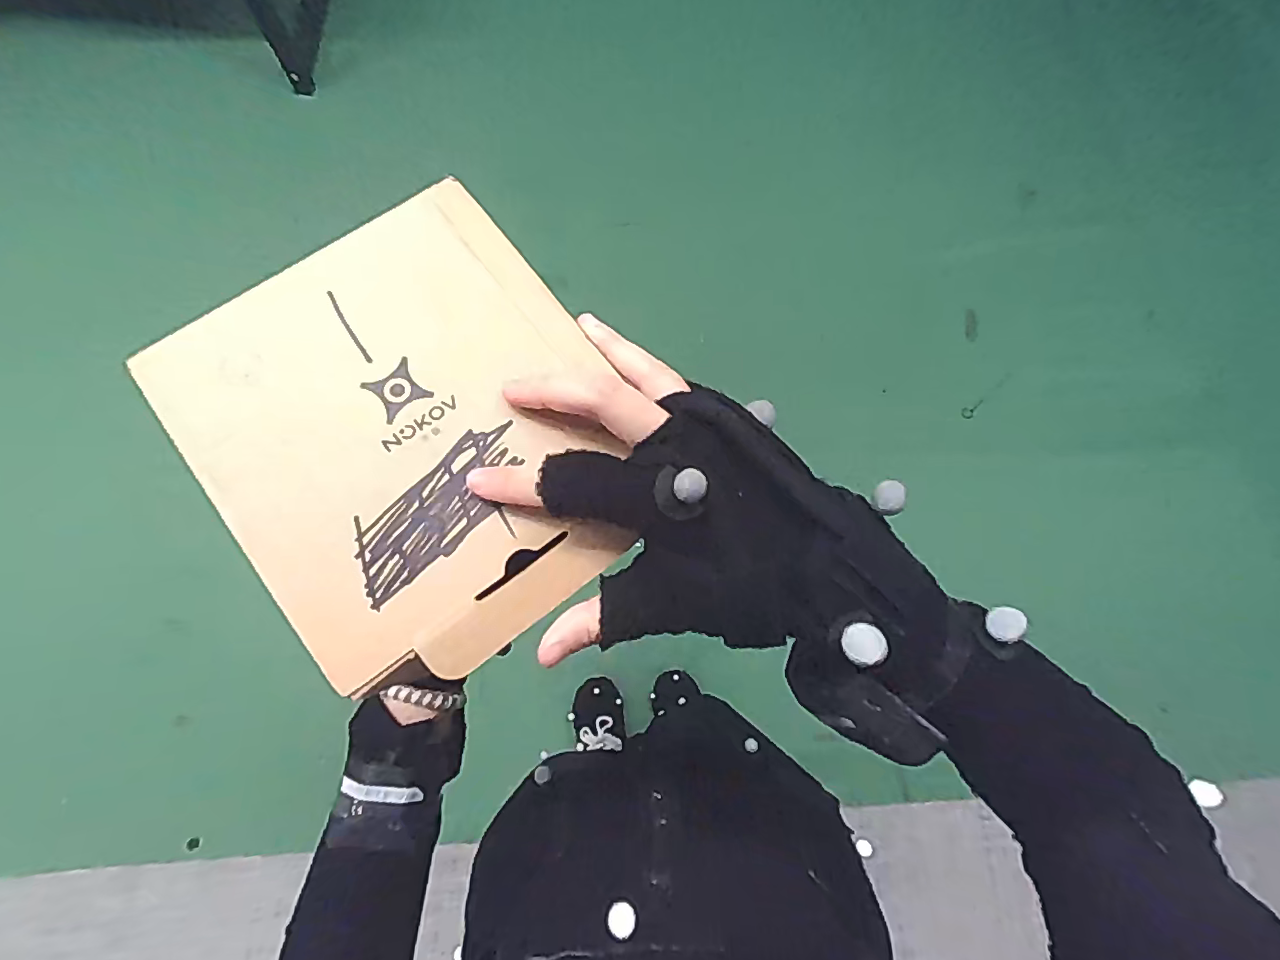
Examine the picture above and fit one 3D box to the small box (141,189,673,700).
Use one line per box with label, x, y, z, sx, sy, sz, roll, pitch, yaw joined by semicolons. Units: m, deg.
small box;-0.103;-0.010;0.311;0.168;0.176;0.179;-37;81;-11
